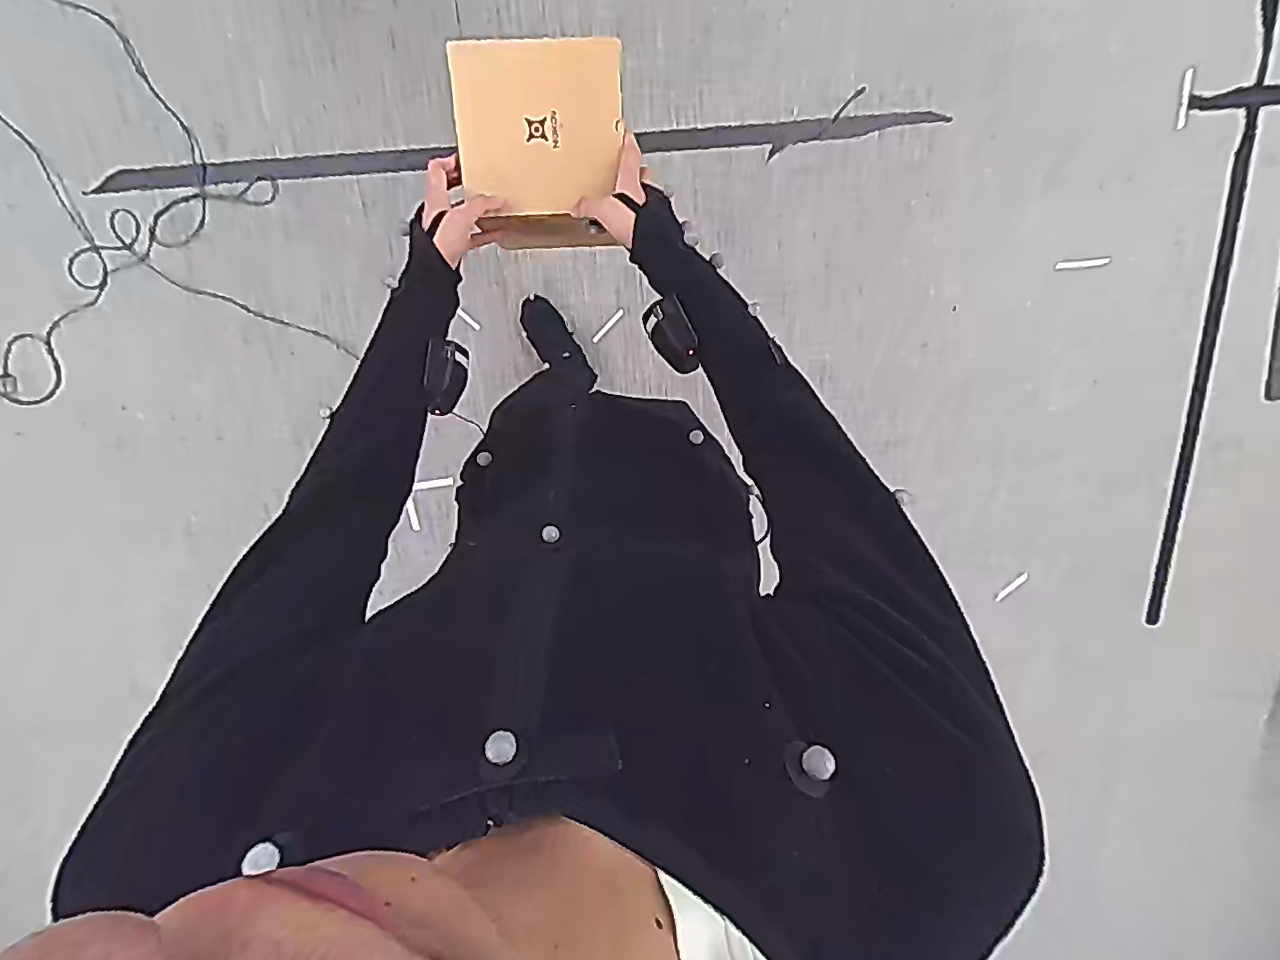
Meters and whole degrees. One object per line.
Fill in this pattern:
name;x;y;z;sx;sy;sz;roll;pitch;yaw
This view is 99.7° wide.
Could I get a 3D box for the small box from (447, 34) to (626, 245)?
small box;-0.108;-0.381;0.636;0.179;0.176;0.168;-4;102;-3
